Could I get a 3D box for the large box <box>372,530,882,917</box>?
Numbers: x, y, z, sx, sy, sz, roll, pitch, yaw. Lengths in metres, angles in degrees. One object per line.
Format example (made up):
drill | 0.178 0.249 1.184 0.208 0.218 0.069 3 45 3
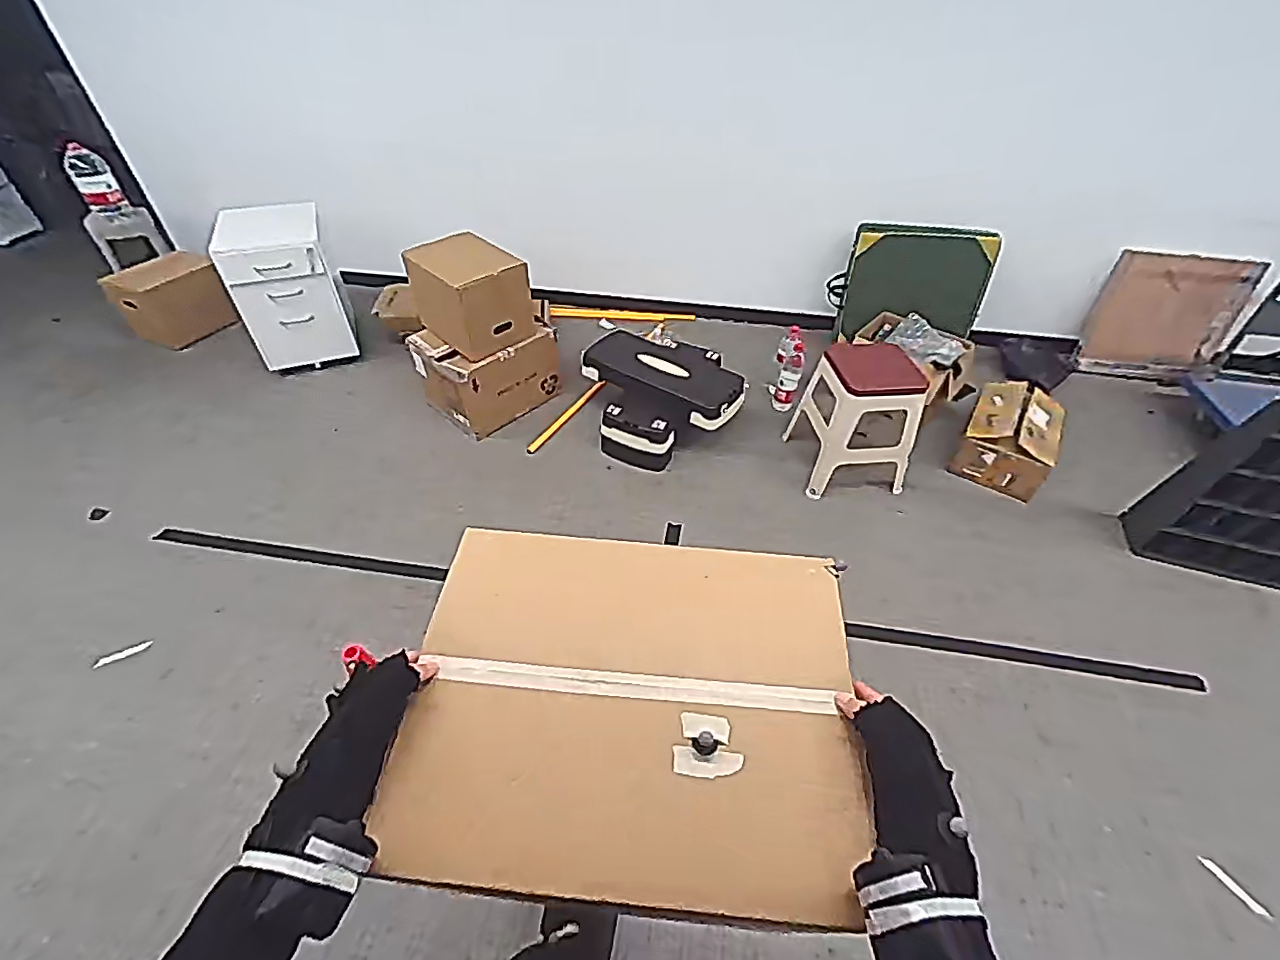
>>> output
large box | -0.006 0.282 0.621 0.408 0.320 0.320 5 51 2
